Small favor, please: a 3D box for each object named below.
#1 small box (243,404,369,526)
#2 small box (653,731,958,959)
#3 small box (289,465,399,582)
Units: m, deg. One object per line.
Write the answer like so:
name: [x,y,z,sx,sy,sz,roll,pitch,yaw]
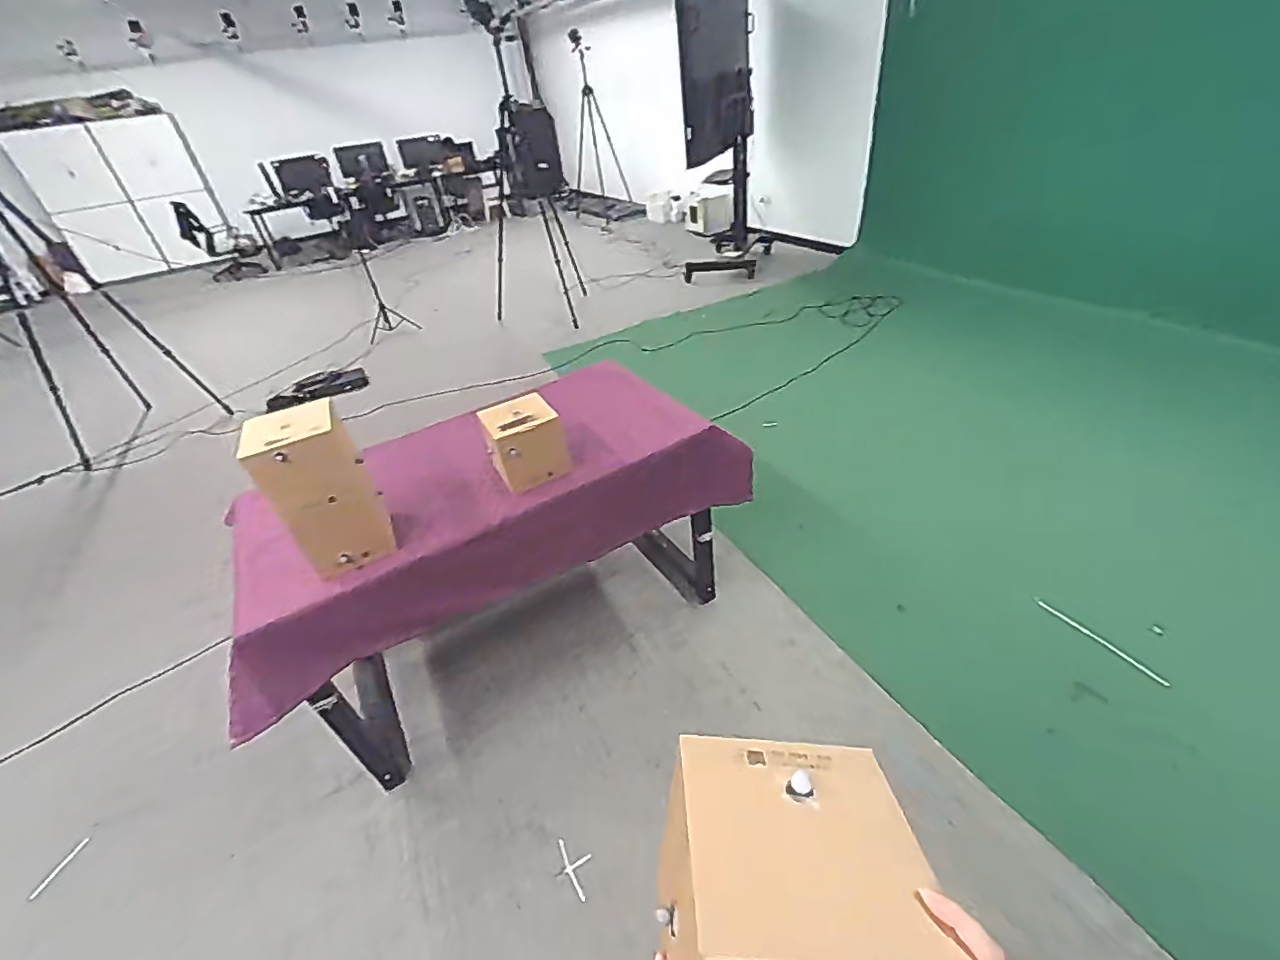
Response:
small box: [-0.690,-0.033,1.135,0.168,0.176,0.179,-23,37,-16]
small box: [0.099,0.326,0.409,0.168,0.179,0.176,5,17,-2]
small box: [-0.669,0.099,1.233,0.168,0.176,0.179,-22,39,-17]
